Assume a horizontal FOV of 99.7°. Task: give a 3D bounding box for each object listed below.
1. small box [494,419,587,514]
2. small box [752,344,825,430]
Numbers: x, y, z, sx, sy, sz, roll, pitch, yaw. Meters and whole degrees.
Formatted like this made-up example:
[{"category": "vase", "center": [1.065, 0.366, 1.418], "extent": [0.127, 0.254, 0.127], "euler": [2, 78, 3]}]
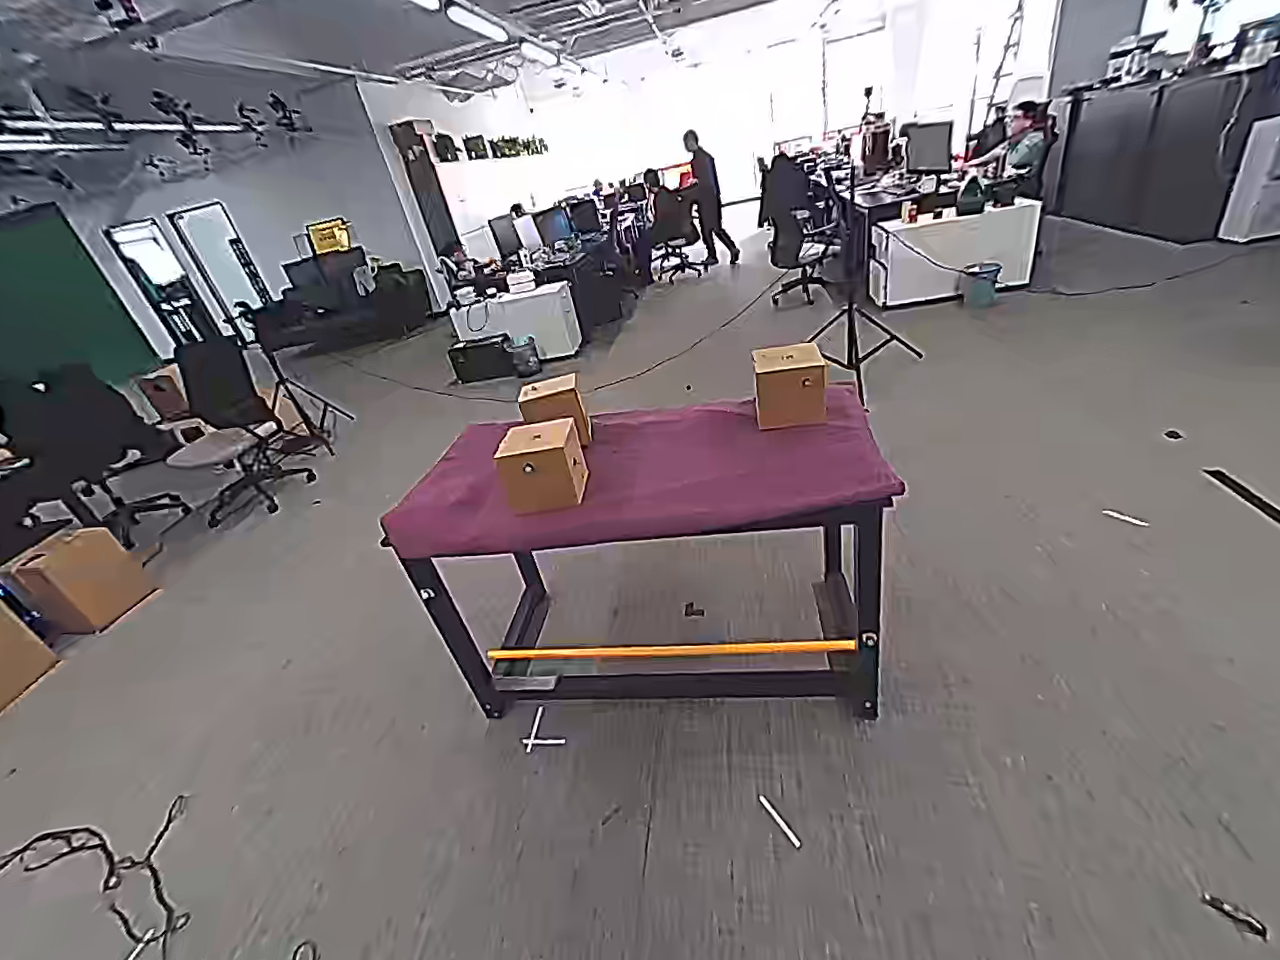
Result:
[{"category": "small box", "center": [-0.241, -0.032, 1.363], "extent": [0.179, 0.176, 0.168], "euler": [-9, 30, 8]}, {"category": "small box", "center": [0.403, -0.252, 1.473], "extent": [0.179, 0.176, 0.168], "euler": [-6, 32, 12]}]
